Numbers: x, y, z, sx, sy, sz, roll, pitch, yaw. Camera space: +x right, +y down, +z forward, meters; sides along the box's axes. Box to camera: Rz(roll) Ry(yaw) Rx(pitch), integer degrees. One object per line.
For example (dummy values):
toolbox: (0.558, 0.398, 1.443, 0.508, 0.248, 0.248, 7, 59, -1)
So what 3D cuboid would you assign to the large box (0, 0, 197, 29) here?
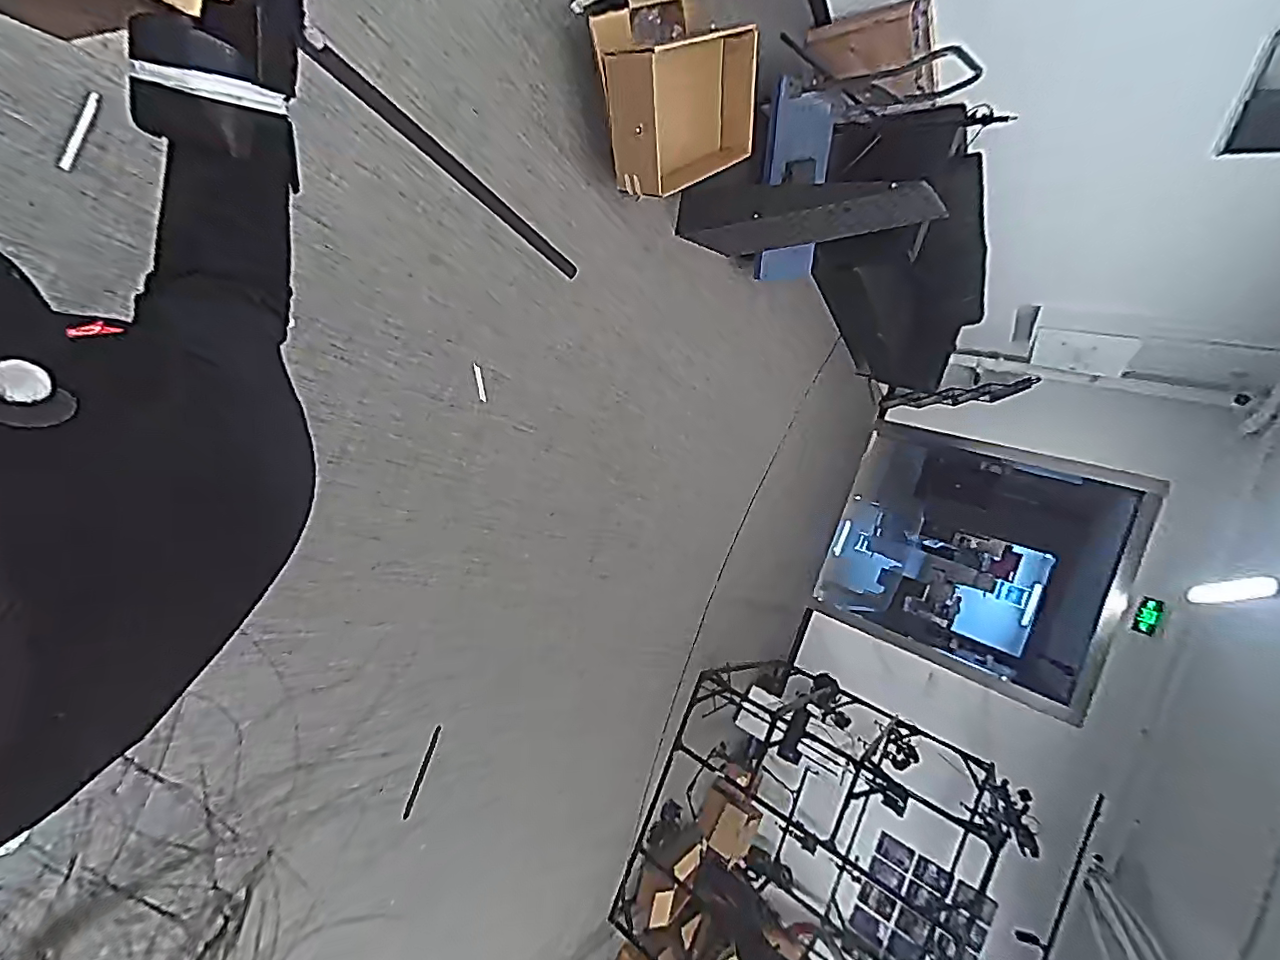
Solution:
large box: (-0.445, -0.464, 0.194, 0.408, 0.320, 0.320, -3, 115, -57)
